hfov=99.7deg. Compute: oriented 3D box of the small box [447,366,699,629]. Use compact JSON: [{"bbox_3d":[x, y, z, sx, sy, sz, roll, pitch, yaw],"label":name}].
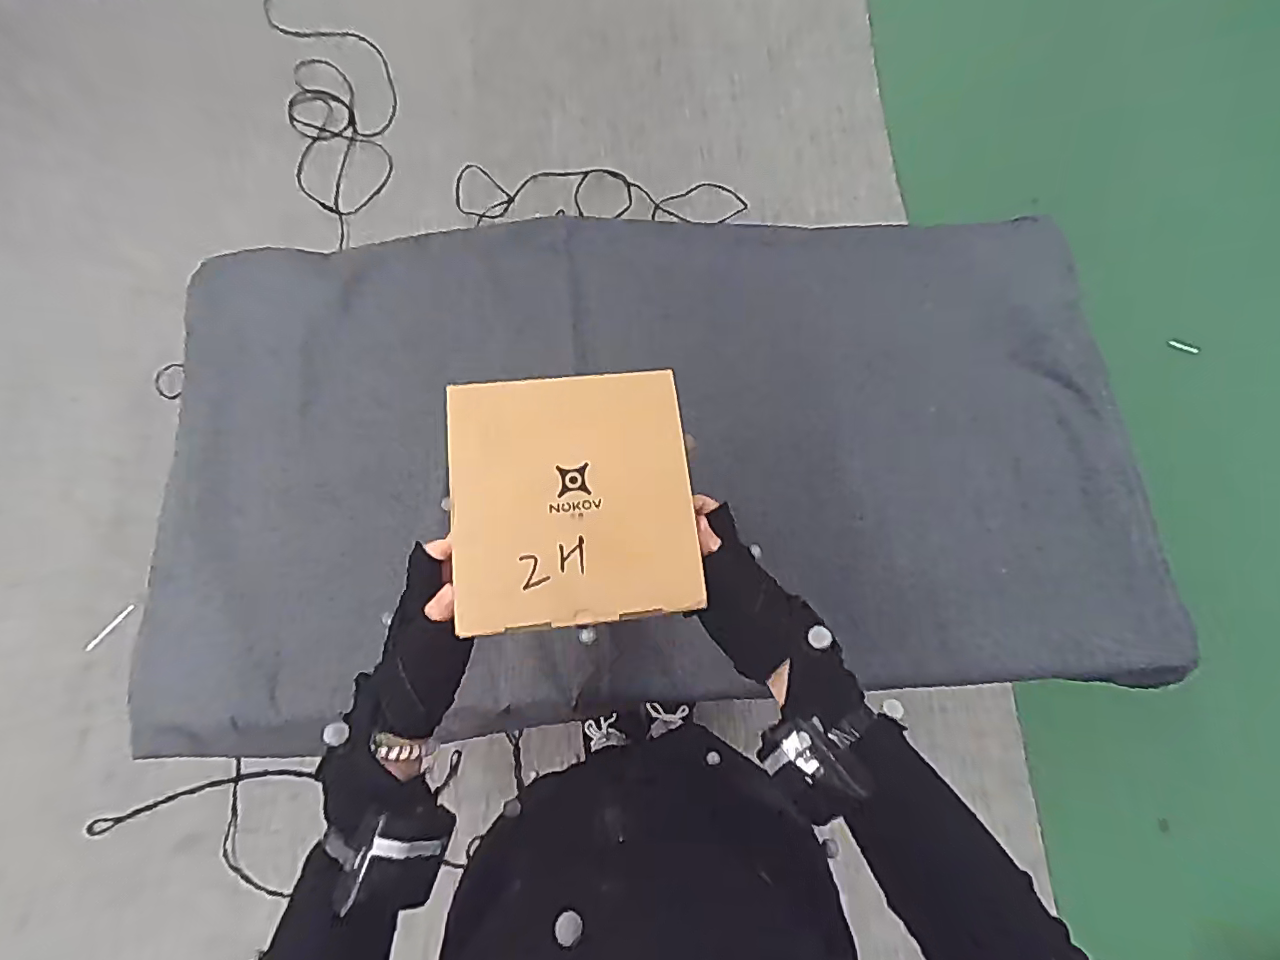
[{"bbox_3d":[-0.057,0.025,0.450,0.168,0.176,0.179,-5,75,-6],"label":"small box"}]
